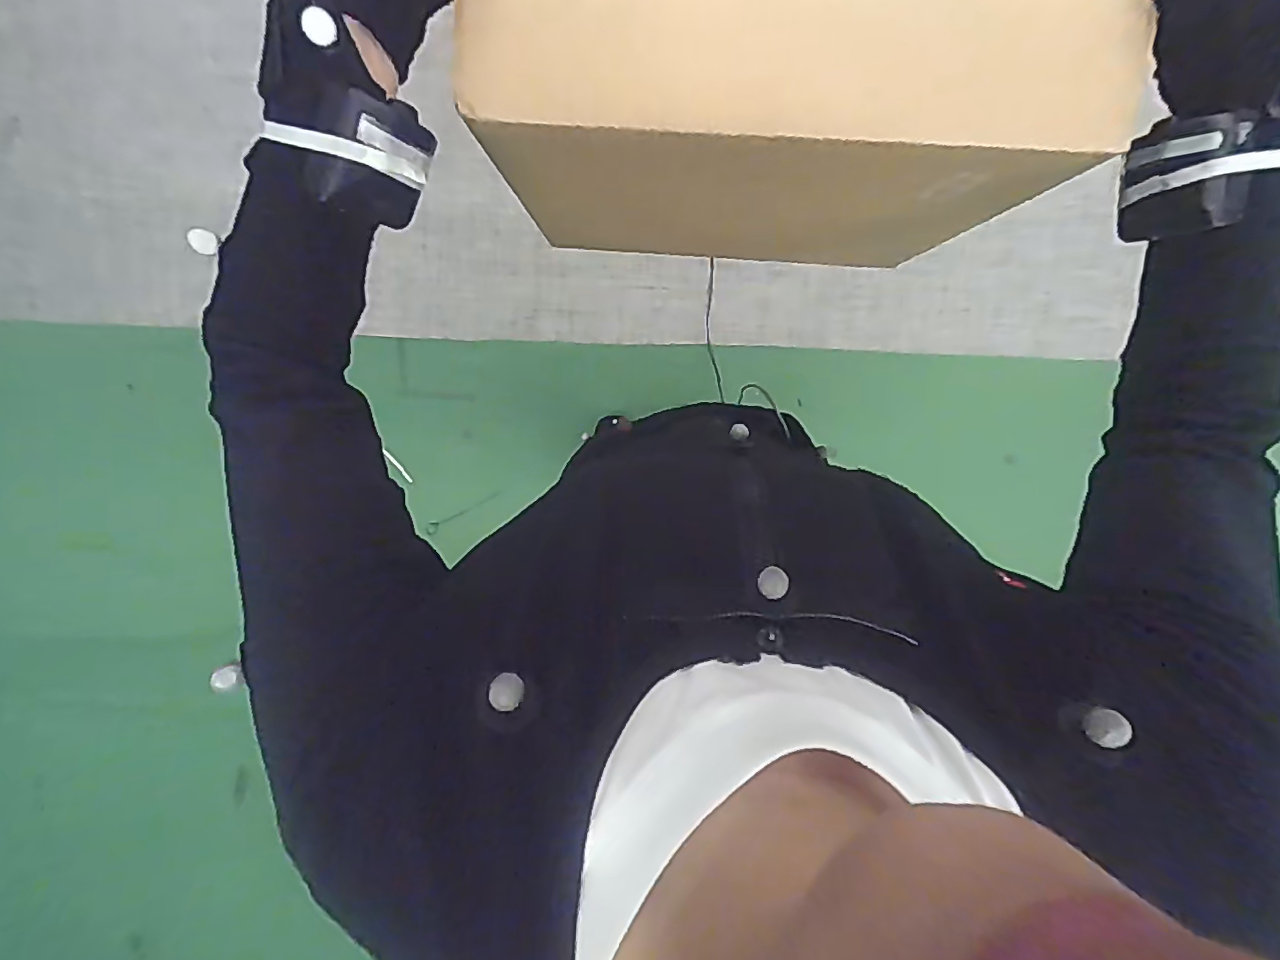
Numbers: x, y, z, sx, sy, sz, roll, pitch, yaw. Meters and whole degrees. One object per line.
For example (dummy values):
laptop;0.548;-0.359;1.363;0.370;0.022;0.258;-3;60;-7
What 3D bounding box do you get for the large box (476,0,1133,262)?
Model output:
large box;0.102;-0.387;0.463;0.408;0.320;0.320;3;100;1
